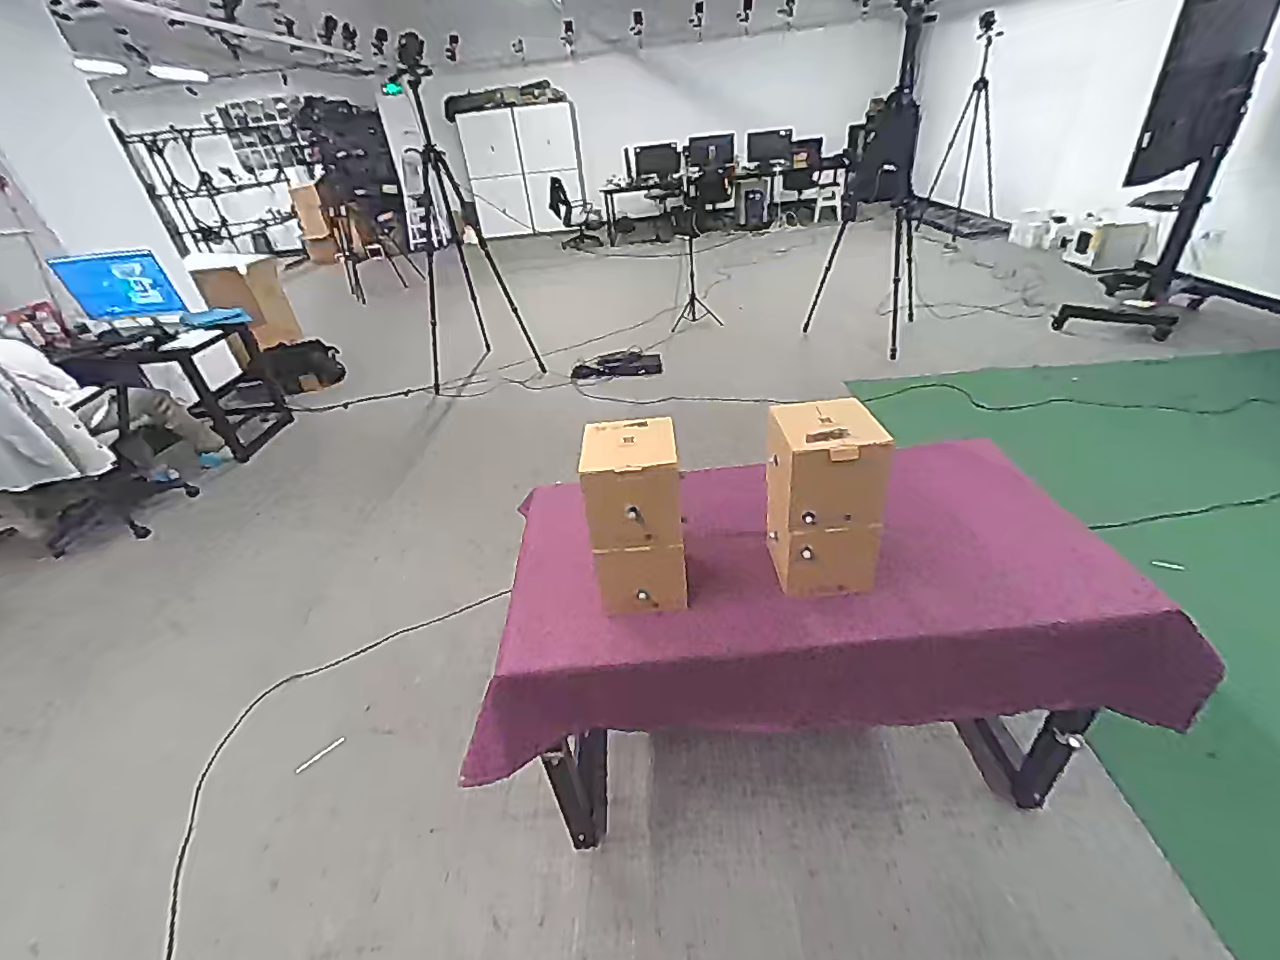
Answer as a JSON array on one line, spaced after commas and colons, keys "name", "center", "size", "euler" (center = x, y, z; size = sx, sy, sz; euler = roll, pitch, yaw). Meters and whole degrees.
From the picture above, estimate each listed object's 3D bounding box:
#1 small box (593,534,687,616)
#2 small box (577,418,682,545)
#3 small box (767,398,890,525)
[{"name": "small box", "center": [0.004, 0.146, 1.079], "size": [0.168, 0.176, 0.179], "euler": [-6, 33, 3]}, {"name": "small box", "center": [-0.014, 0.007, 0.993], "size": [0.168, 0.176, 0.179], "euler": [-5, 33, 3]}, {"name": "small box", "center": [0.331, -0.030, 0.984], "size": [0.168, 0.176, 0.179], "euler": [-6, 31, 2]}]
